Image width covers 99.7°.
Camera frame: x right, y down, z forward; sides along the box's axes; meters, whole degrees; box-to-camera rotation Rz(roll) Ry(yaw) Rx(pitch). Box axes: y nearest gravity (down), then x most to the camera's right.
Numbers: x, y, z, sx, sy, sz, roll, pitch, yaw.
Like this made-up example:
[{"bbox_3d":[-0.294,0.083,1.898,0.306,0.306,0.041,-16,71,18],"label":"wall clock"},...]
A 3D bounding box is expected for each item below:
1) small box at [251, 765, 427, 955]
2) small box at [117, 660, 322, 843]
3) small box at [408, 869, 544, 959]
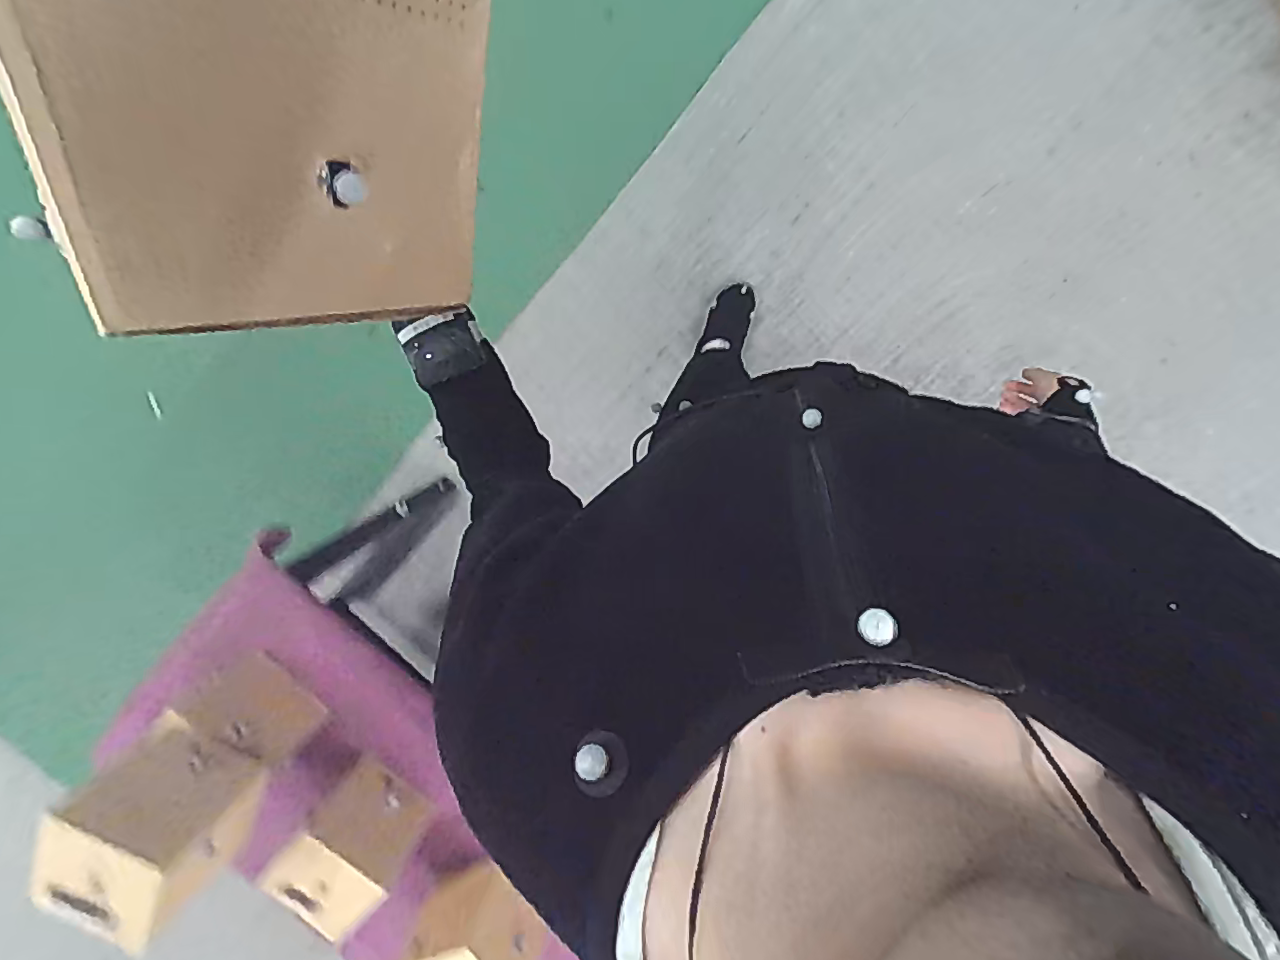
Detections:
[{"bbox_3d":[-0.502,0.642,0.929,0.168,0.176,0.179,40,106,-5],"label":"small box"},{"bbox_3d":[-0.680,0.438,0.895,0.168,0.176,0.179,-42,97,16],"label":"small box"},{"bbox_3d":[-0.290,0.838,0.957,0.179,0.176,0.168,-31,100,15],"label":"small box"}]
